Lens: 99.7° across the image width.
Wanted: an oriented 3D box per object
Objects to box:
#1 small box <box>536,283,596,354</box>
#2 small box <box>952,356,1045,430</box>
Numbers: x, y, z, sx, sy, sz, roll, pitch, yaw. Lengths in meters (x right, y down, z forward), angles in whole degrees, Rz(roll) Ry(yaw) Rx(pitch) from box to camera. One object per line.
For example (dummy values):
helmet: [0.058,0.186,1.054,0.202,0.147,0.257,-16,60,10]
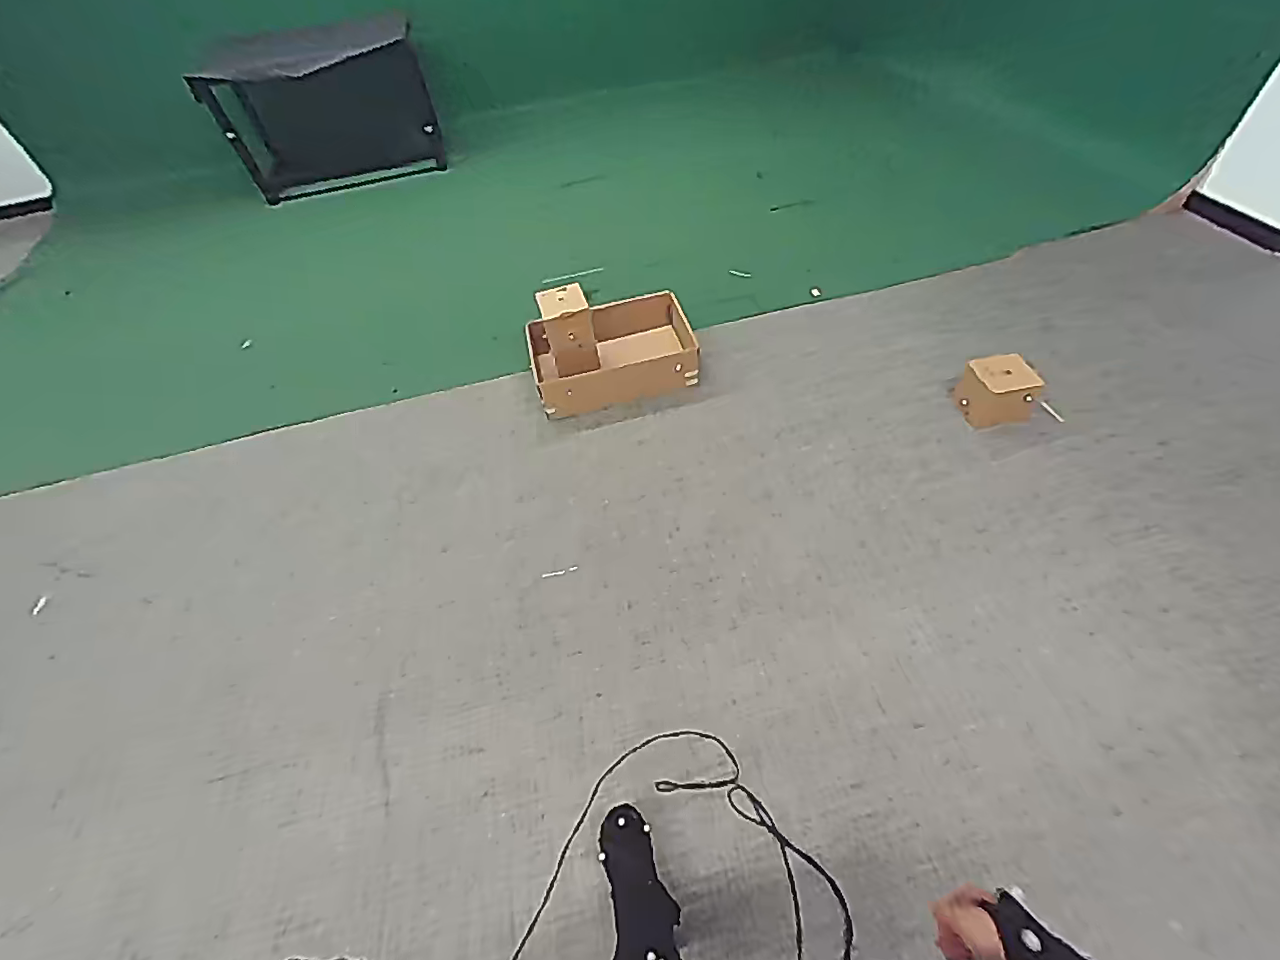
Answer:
small box: [-0.265,-0.580,1.968,0.168,0.176,0.179,-16,53,-6]
small box: [1.209,-0.294,1.840,0.179,0.176,0.168,-10,51,-1]
